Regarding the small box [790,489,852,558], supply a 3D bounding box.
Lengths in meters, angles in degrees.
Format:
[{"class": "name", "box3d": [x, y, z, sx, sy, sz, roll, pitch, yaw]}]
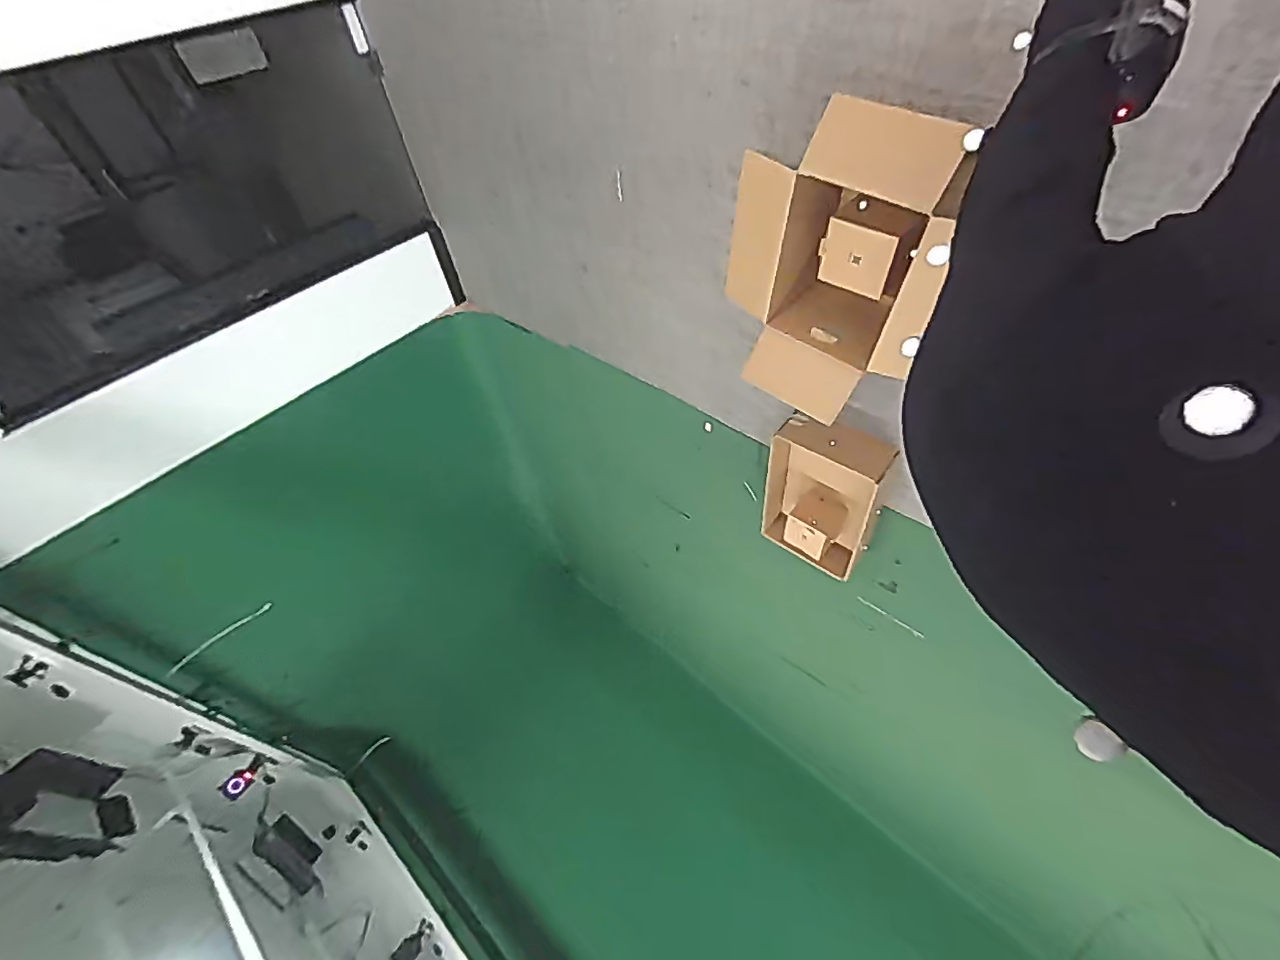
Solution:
[{"class": "small box", "box3d": [0.721, 0.172, 2.152, 0.168, 0.176, 0.179, 33, 149, 30]}]
